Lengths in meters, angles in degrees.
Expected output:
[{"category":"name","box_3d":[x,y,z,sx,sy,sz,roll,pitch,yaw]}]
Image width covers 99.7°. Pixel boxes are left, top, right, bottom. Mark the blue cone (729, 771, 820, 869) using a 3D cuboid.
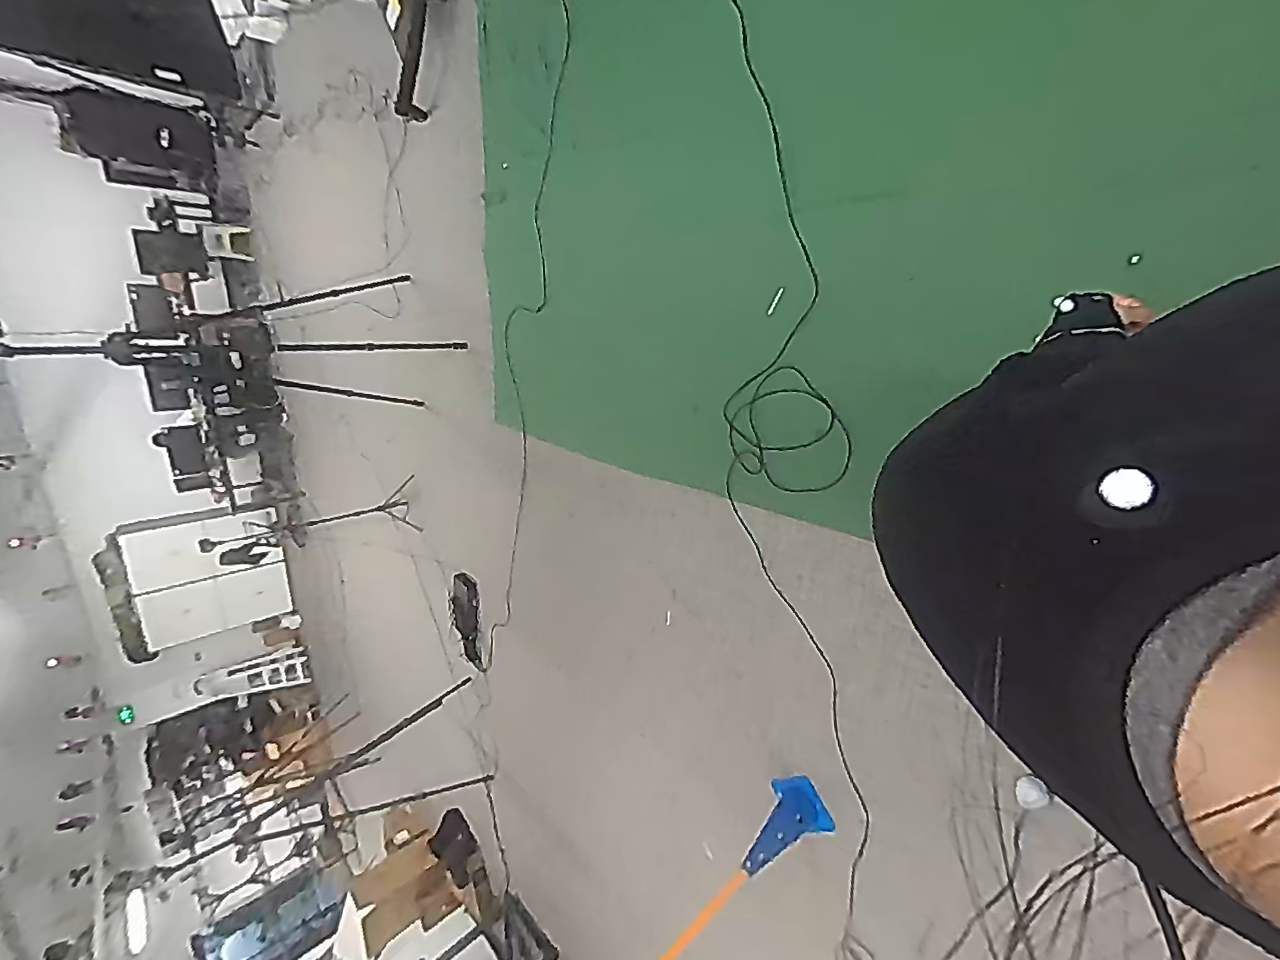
[{"category":"blue cone","box_3d":[0.440,1.212,1.878,0.192,0.380,0.193,58,137,14]}]
